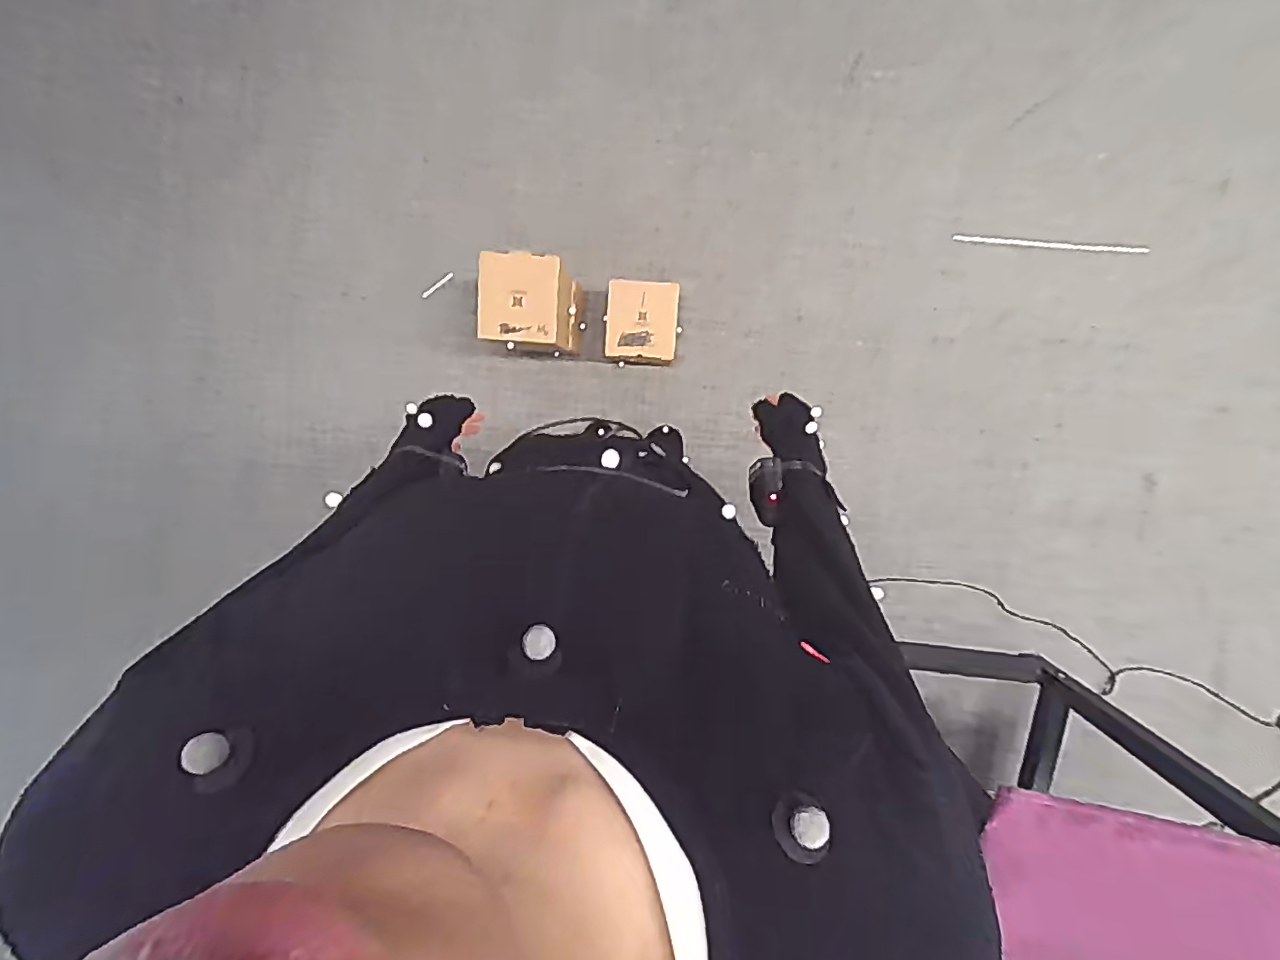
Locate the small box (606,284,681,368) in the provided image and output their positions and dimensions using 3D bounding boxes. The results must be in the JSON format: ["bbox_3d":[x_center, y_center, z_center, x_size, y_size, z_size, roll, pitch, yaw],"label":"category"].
[{"bbox_3d":[0.011,-0.373,1.339,0.168,0.176,0.179,4,97,1],"label":"small box"}]

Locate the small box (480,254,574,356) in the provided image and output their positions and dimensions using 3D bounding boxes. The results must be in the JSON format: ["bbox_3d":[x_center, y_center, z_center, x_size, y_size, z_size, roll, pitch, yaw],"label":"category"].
[{"bbox_3d":[-0.240,-0.375,1.184,0.168,0.176,0.179,5,97,1],"label":"small box"}]
